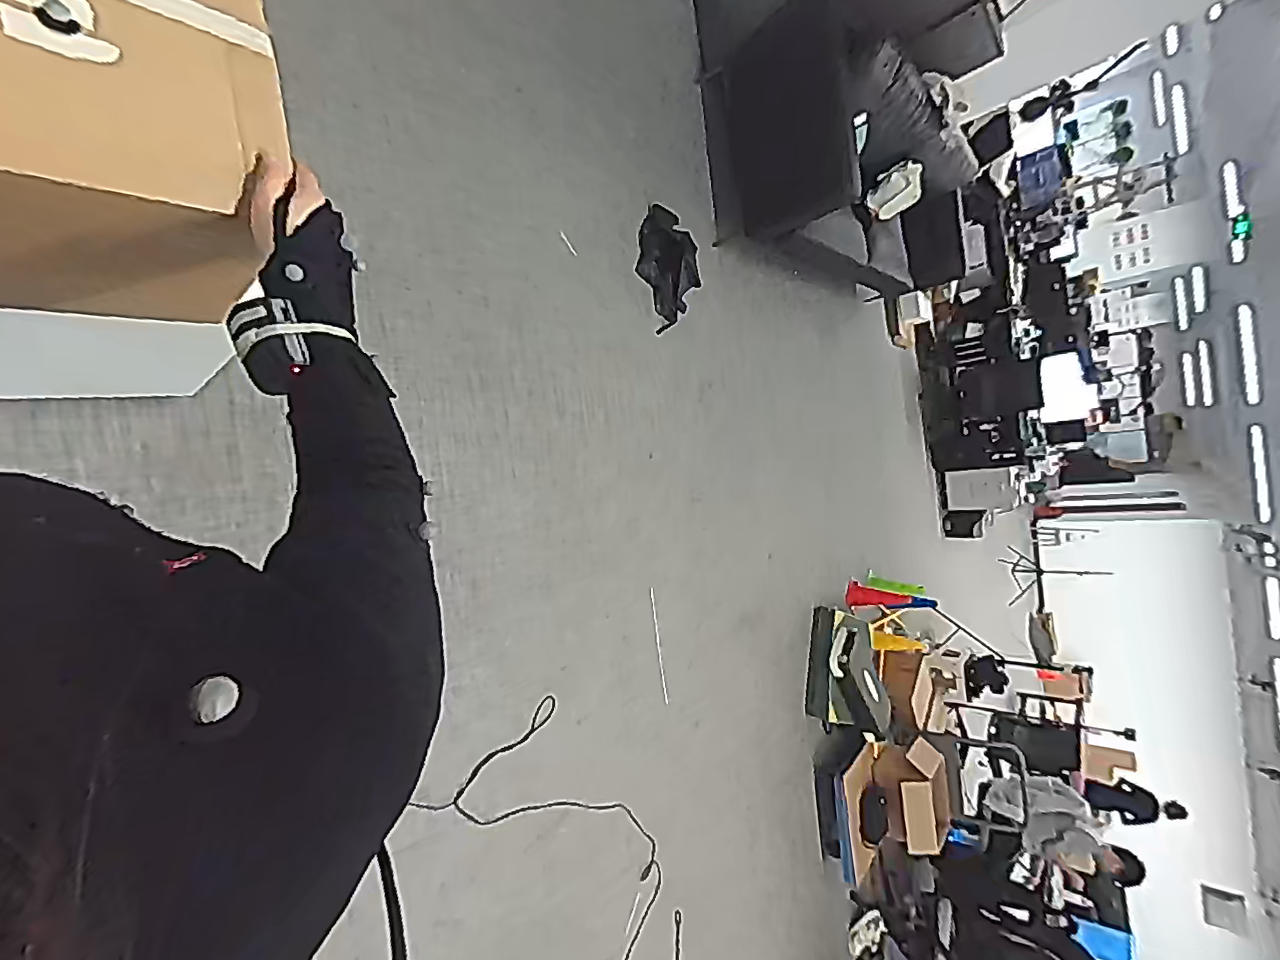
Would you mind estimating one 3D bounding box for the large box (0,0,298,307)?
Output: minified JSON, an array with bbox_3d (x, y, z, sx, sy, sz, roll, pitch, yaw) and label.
[{"bbox_3d":[-0.571,-0.349,0.428,0.408,0.320,0.320,-12,95,-50],"label":"large box"}]
